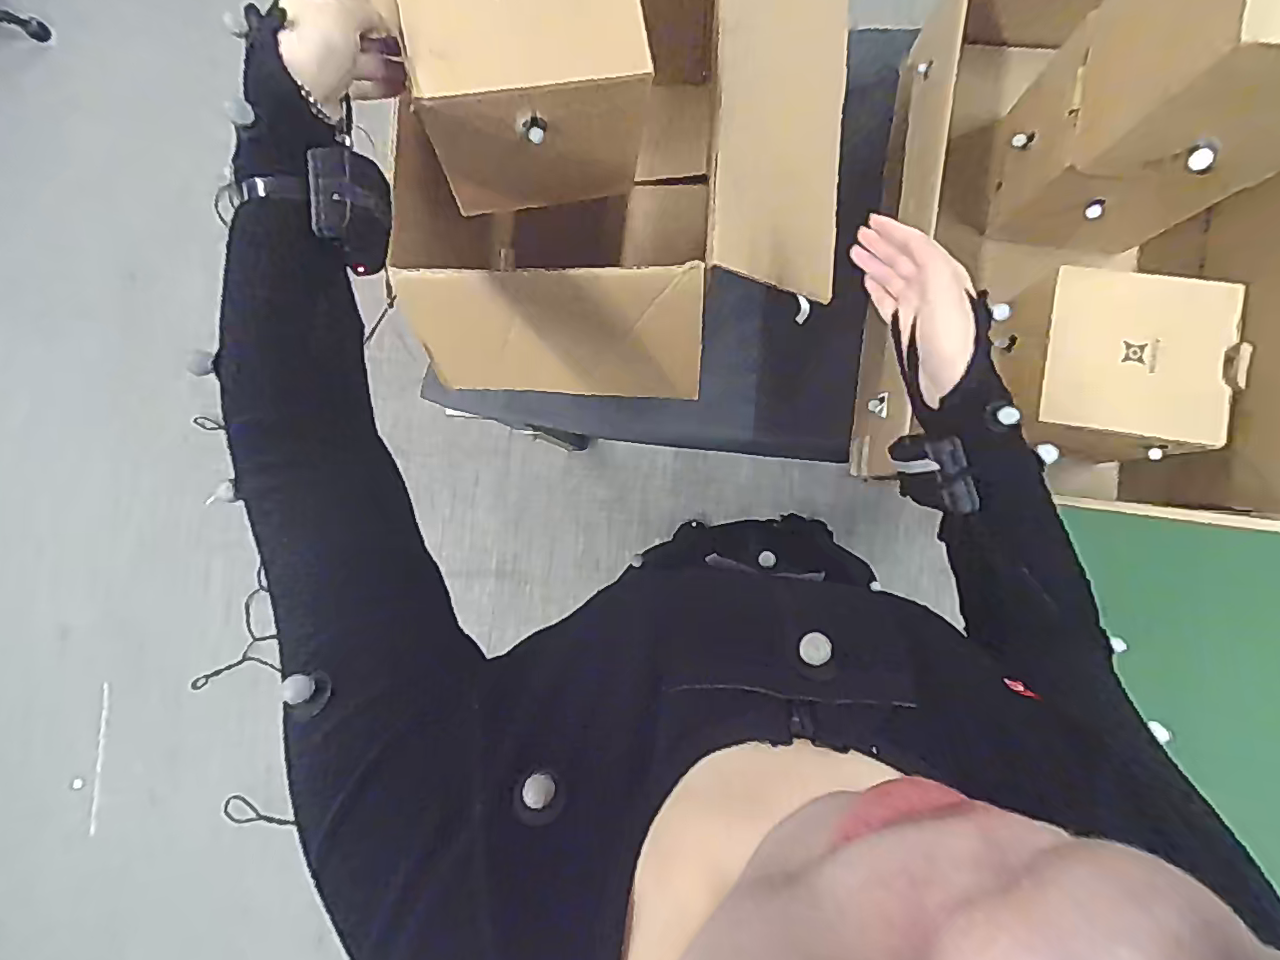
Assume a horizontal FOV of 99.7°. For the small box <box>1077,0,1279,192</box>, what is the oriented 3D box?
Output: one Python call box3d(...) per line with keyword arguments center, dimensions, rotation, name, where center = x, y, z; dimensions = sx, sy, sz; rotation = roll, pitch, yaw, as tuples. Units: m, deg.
box3d(center=(0.523, -0.384, 0.463), dimensions=(0.168, 0.176, 0.179), rotation=(8, 91, 6), name="small box")
